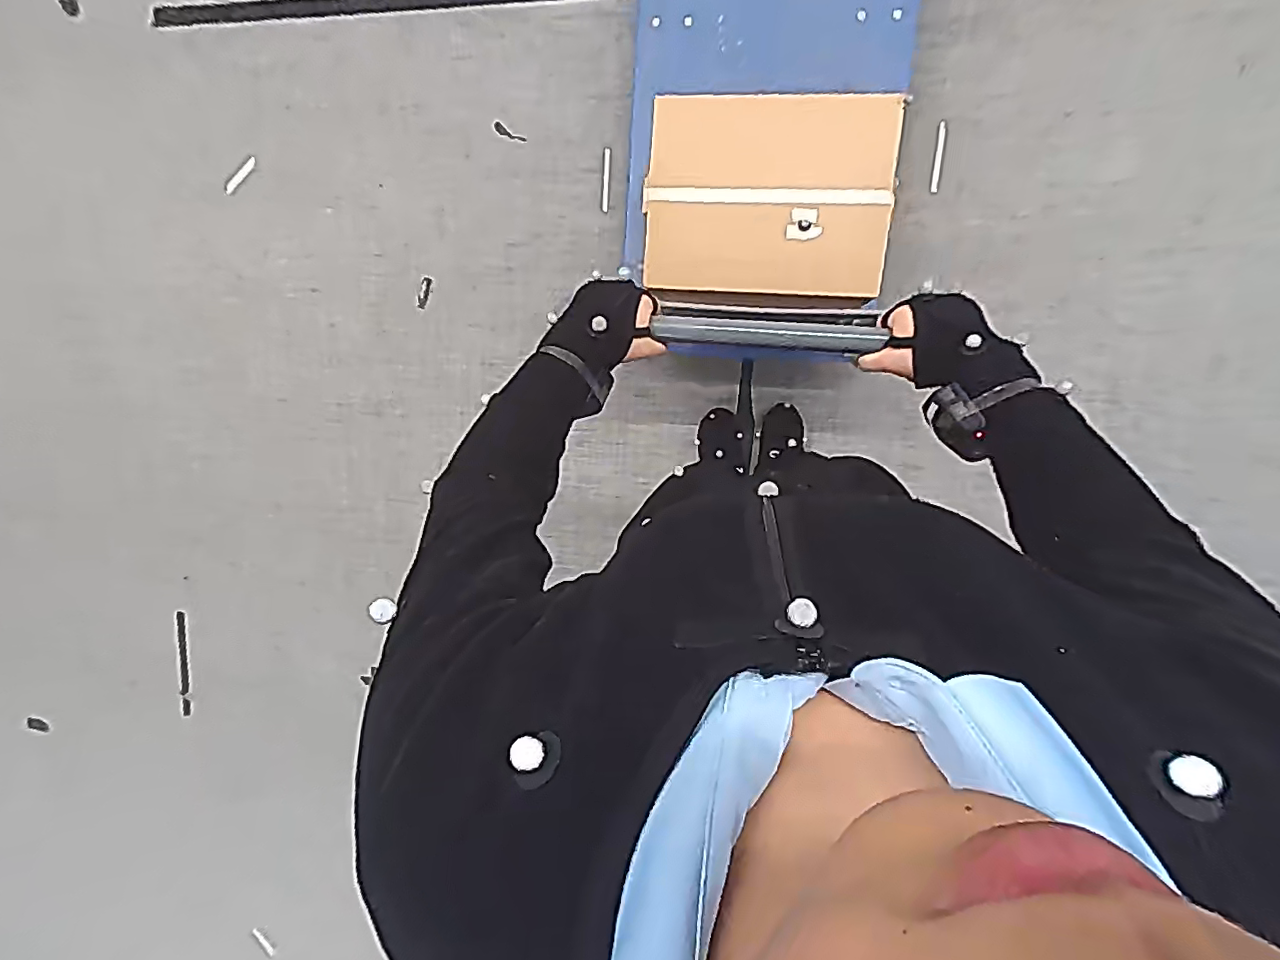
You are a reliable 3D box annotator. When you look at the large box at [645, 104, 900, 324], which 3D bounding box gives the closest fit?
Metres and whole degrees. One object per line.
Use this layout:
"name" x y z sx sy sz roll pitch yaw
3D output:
"large box" 0.230 -0.485 1.053 0.408 0.320 0.320 5 101 7
